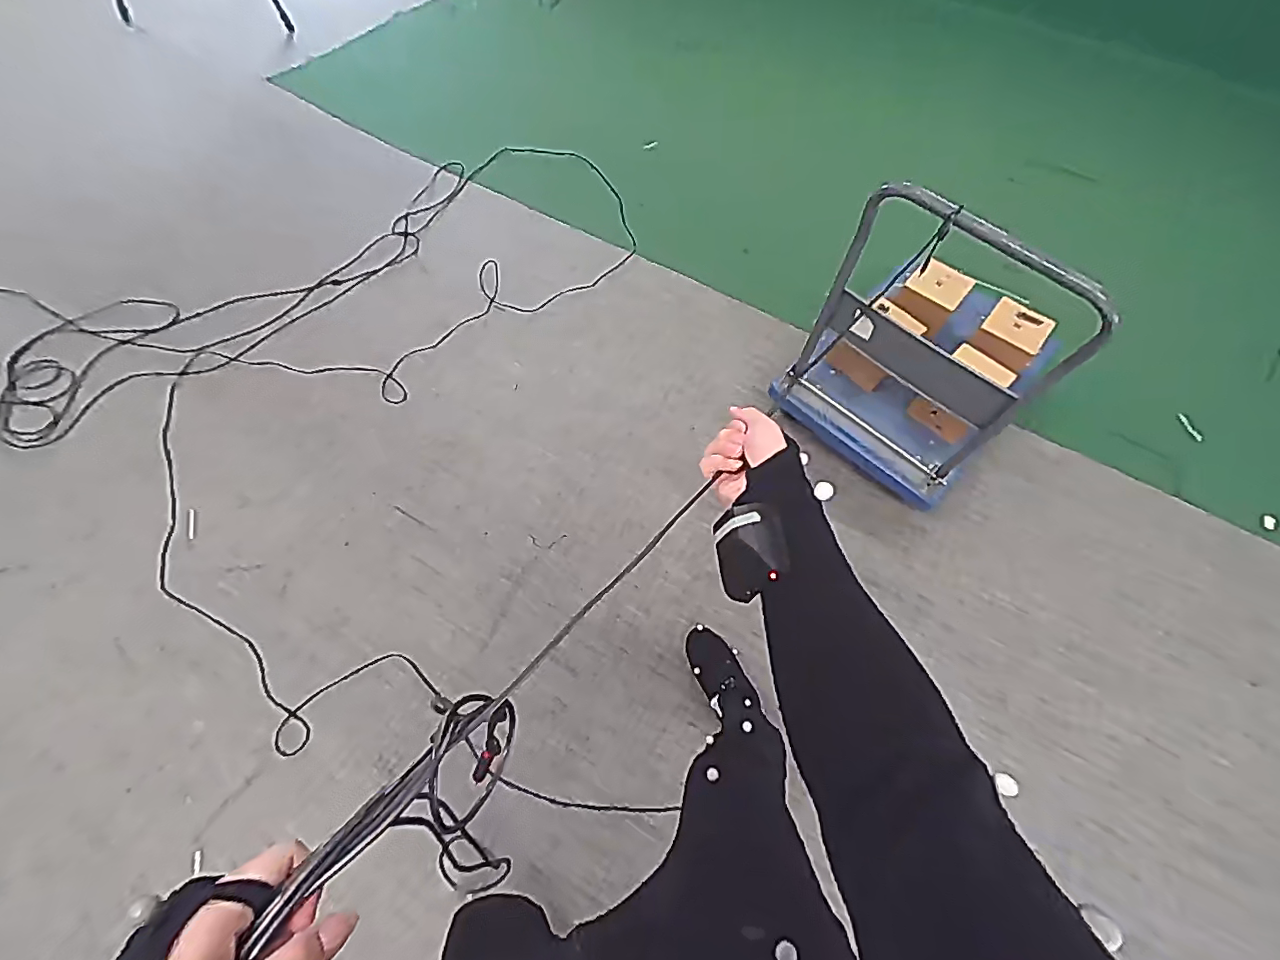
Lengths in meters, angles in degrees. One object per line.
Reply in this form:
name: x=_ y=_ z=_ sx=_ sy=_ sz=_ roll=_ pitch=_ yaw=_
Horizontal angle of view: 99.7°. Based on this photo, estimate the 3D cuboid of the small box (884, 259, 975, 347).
small box: x=0.909 y=-0.557 z=1.715 sx=0.168 sy=0.176 sz=0.179 roll=38 pitch=66 yaw=16

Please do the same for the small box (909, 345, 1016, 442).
small box: x=0.911 y=-0.243 z=1.545 sx=0.179 sy=0.176 sz=0.168 roll=-40 pitch=70 yaw=-21

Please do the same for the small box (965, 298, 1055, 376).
small box: x=1.100 y=-0.410 z=1.644 sx=0.168 sy=0.176 sz=0.179 roll=37 pitch=67 yaw=17
